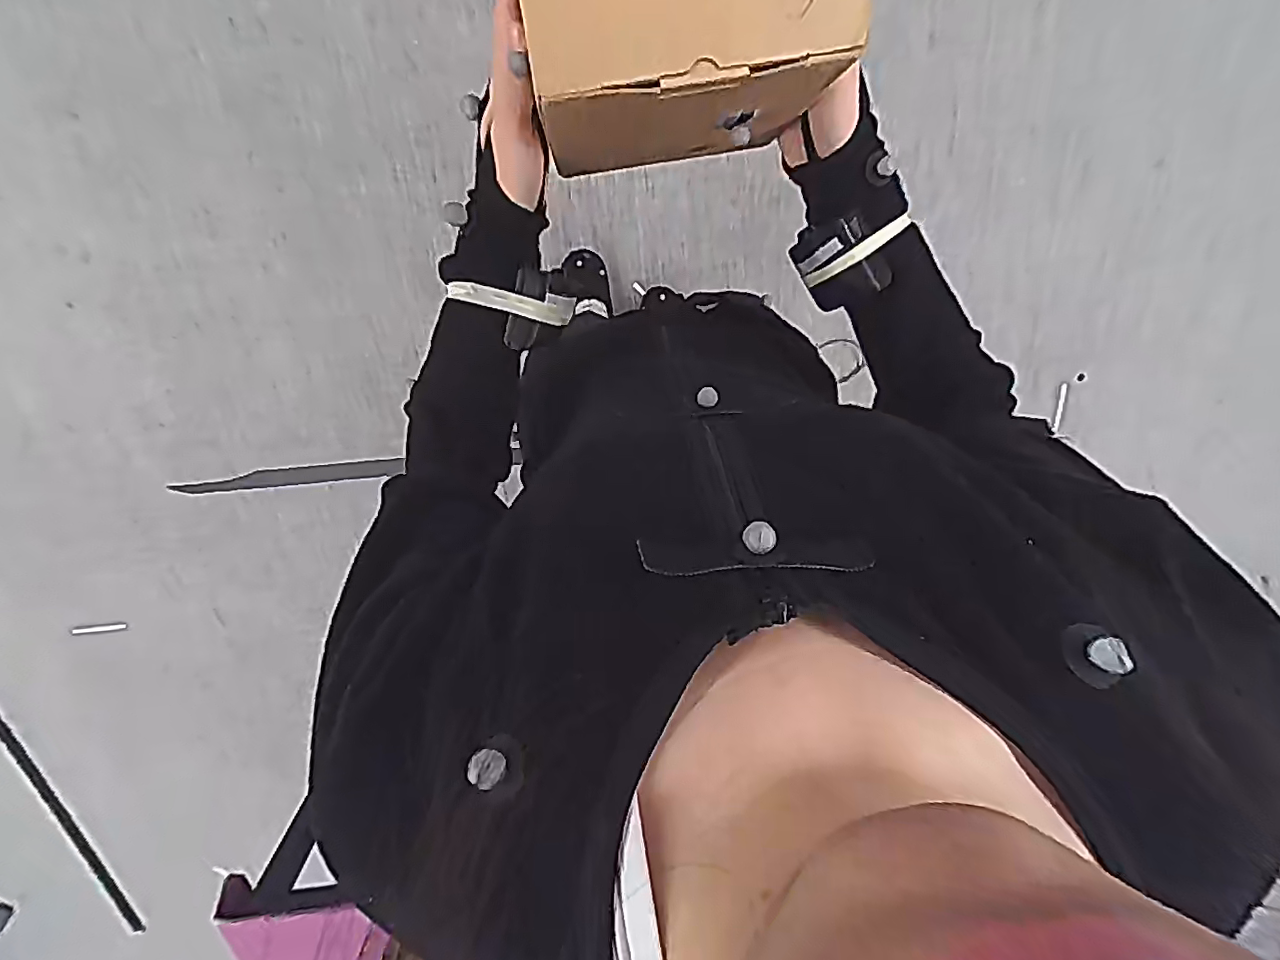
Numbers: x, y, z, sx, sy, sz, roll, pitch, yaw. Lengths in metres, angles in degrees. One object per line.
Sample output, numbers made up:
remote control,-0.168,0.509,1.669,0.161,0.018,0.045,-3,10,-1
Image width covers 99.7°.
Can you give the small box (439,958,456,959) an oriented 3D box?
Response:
small box,-0.446,1.073,1.042,0.179,0.176,0.168,-5,112,-3
